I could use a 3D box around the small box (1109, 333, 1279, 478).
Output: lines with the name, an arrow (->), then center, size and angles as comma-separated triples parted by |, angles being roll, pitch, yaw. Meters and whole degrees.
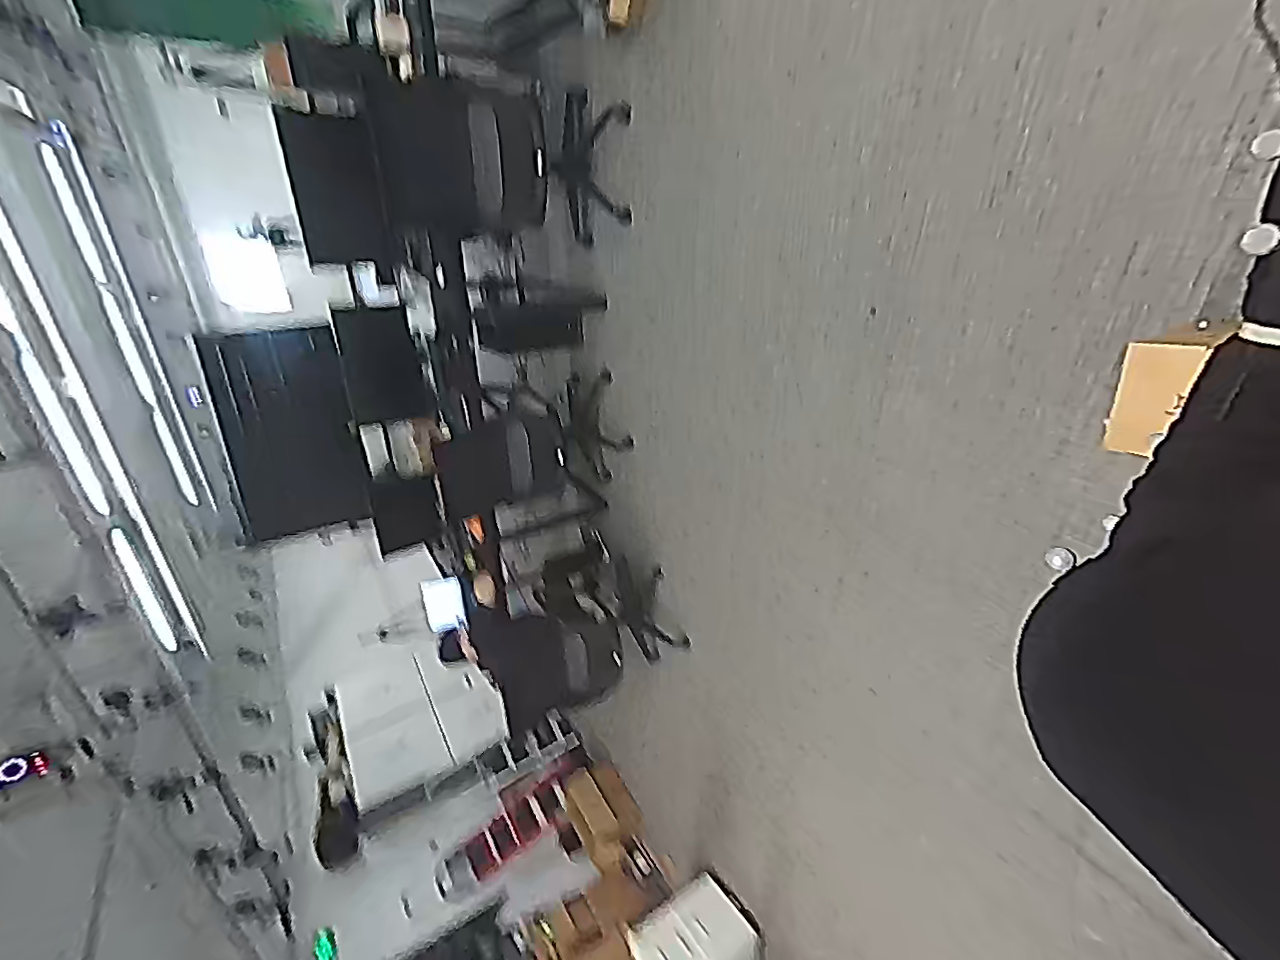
small box -> 0.860, -0.123, 0.814 | 0.168, 0.176, 0.179 | 26, 127, 53
